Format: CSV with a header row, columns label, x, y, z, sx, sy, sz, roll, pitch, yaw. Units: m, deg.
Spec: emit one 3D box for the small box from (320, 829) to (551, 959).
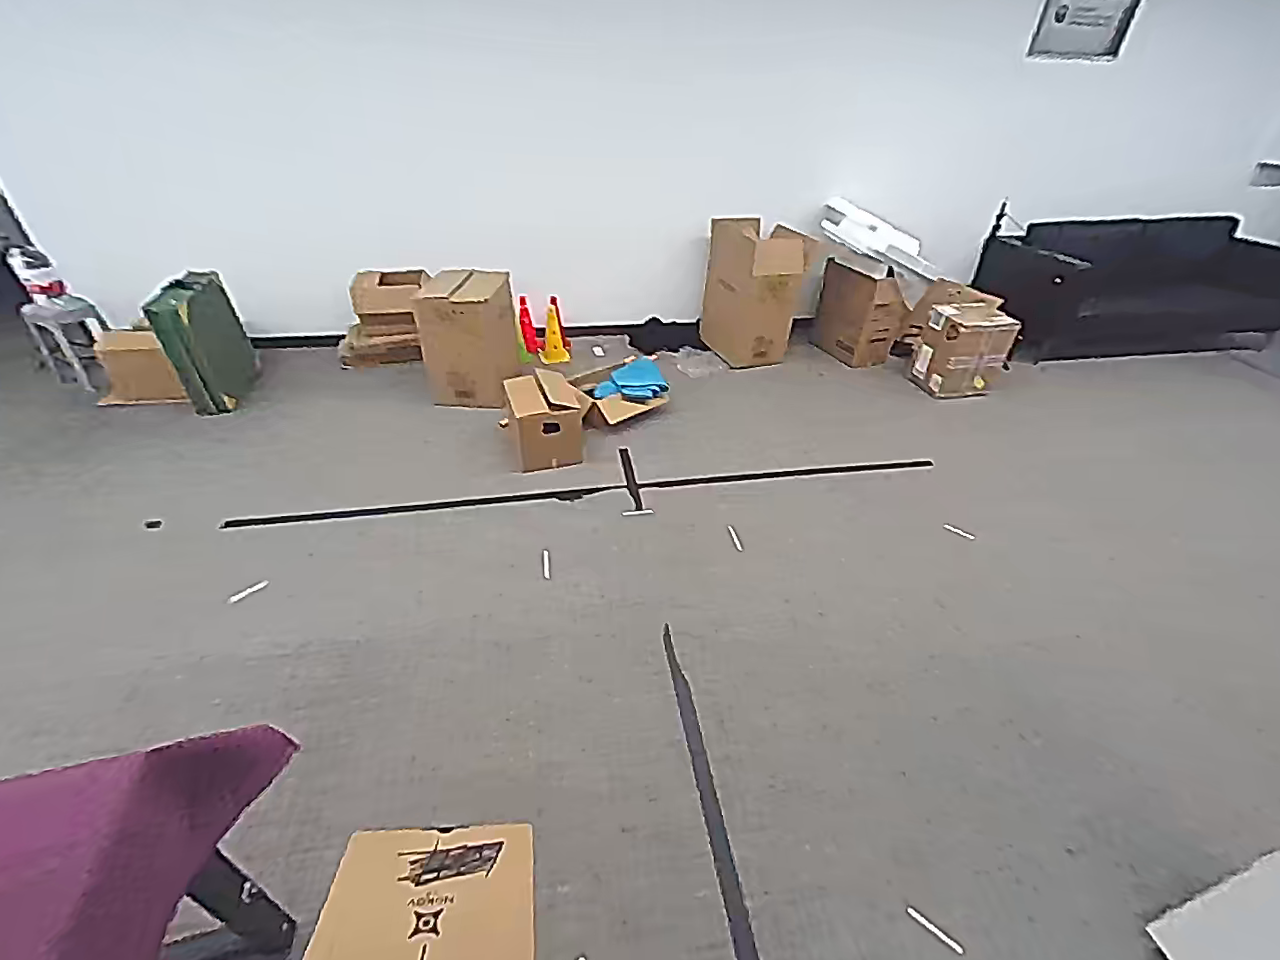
label,x,y,z,sx,sy,sz,roll,pitch,yaw
small box,-0.162,0.425,0.437,0.168,0.176,0.179,4,5,-12
